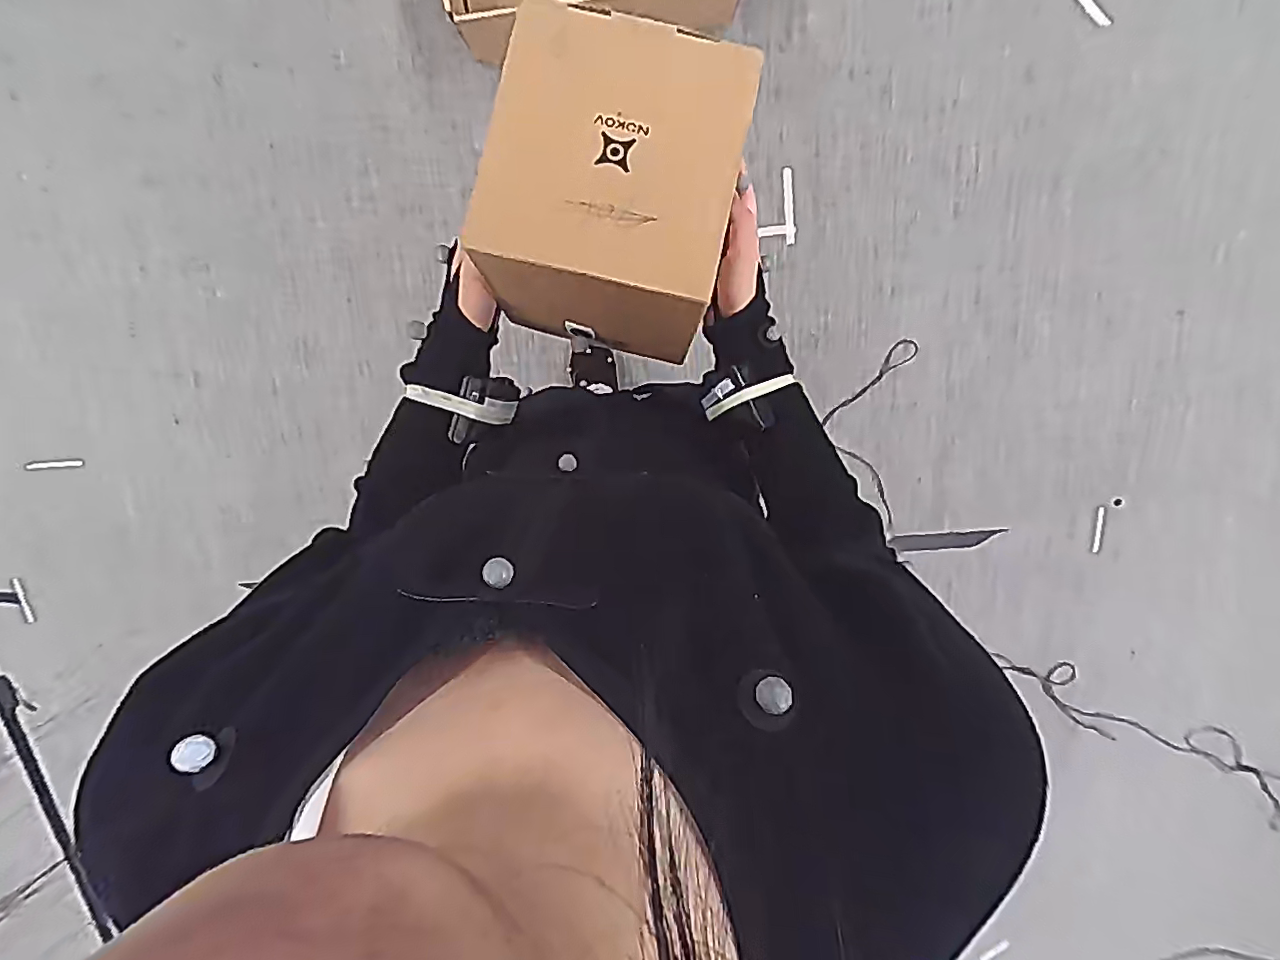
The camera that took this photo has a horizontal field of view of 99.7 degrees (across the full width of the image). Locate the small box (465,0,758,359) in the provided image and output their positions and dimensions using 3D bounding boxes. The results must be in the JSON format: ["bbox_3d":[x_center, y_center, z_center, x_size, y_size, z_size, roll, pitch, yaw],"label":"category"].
[{"bbox_3d":[-0.020,-0.216,0.435,0.168,0.176,0.179,12,88,-1],"label":"small box"}]
